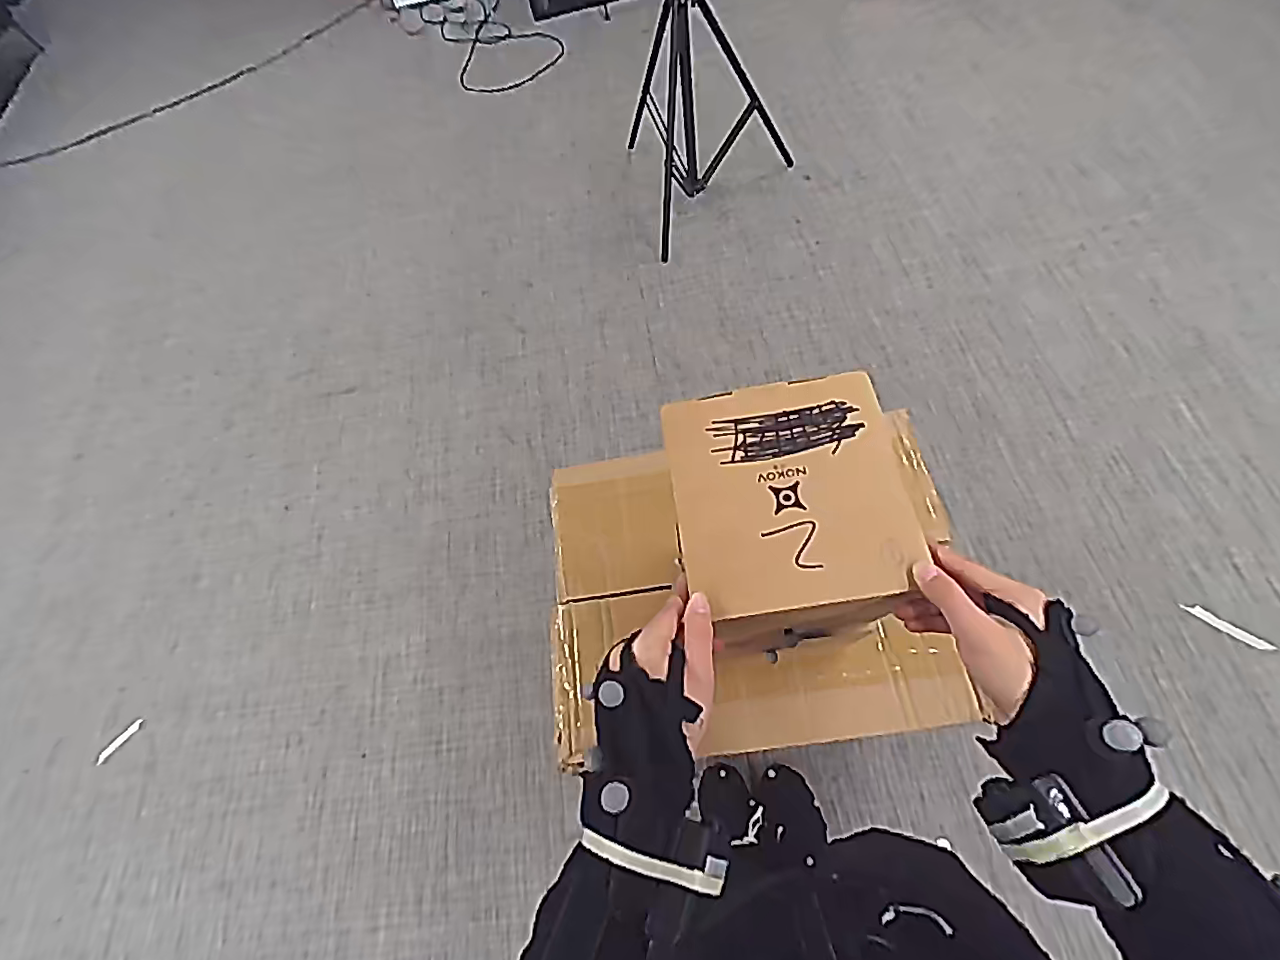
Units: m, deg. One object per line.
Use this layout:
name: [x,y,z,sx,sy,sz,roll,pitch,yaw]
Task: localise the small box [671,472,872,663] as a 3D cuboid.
small box: [0.139,0.110,0.619,0.179,0.176,0.168,-9,66,5]
